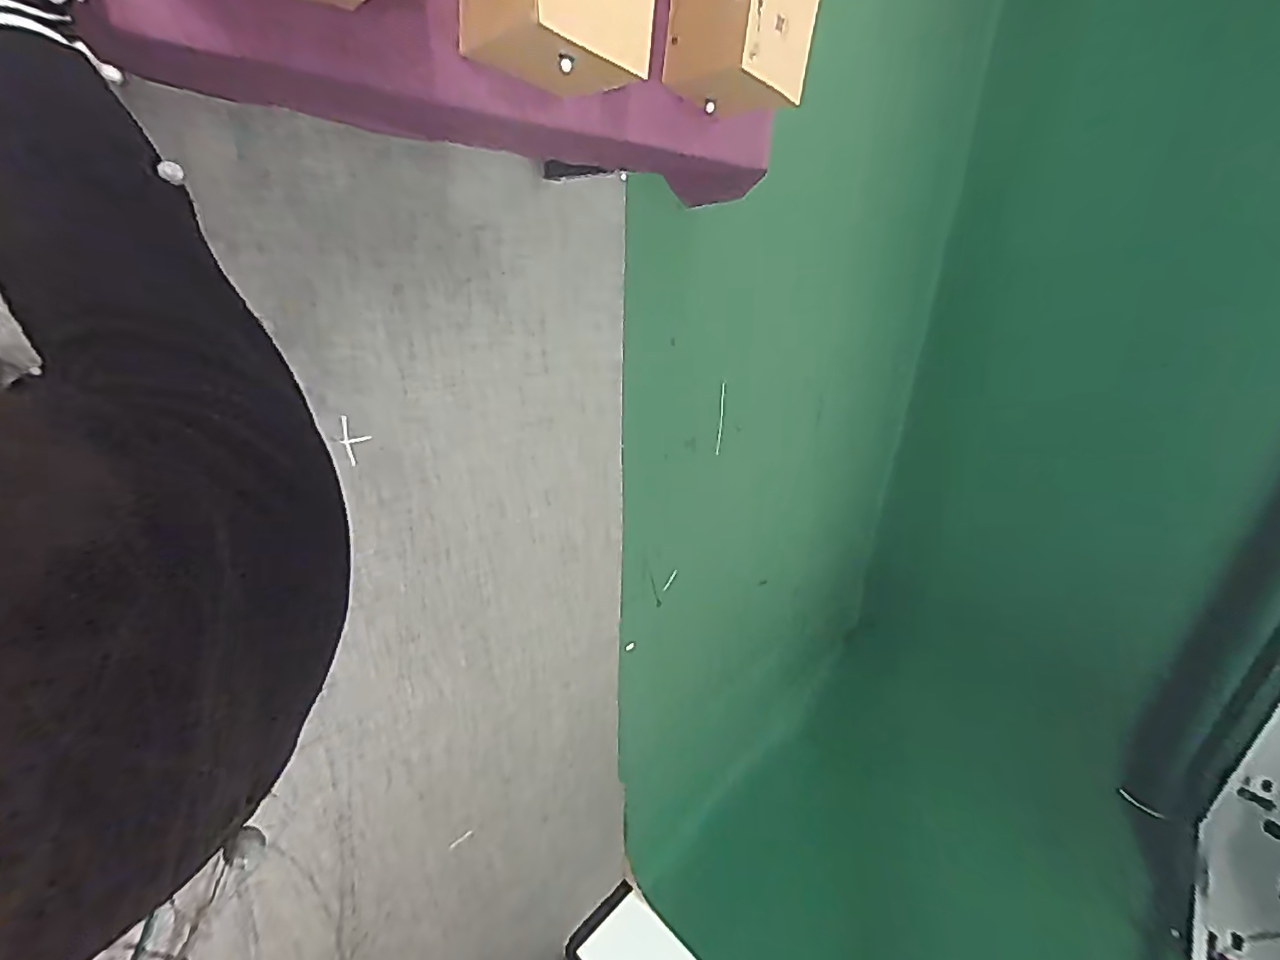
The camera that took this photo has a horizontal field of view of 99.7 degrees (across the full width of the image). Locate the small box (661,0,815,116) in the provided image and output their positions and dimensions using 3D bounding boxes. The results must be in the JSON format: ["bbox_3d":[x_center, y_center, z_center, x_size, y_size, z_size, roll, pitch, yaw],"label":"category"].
[{"bbox_3d":[0.160,-0.729,0.899,0.179,0.176,0.168,-12,116,-45],"label":"small box"}]

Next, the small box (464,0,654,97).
[{"bbox_3d":[-0.101,-0.602,0.668,0.179,0.176,0.168,-14,117,-45],"label":"small box"}]
